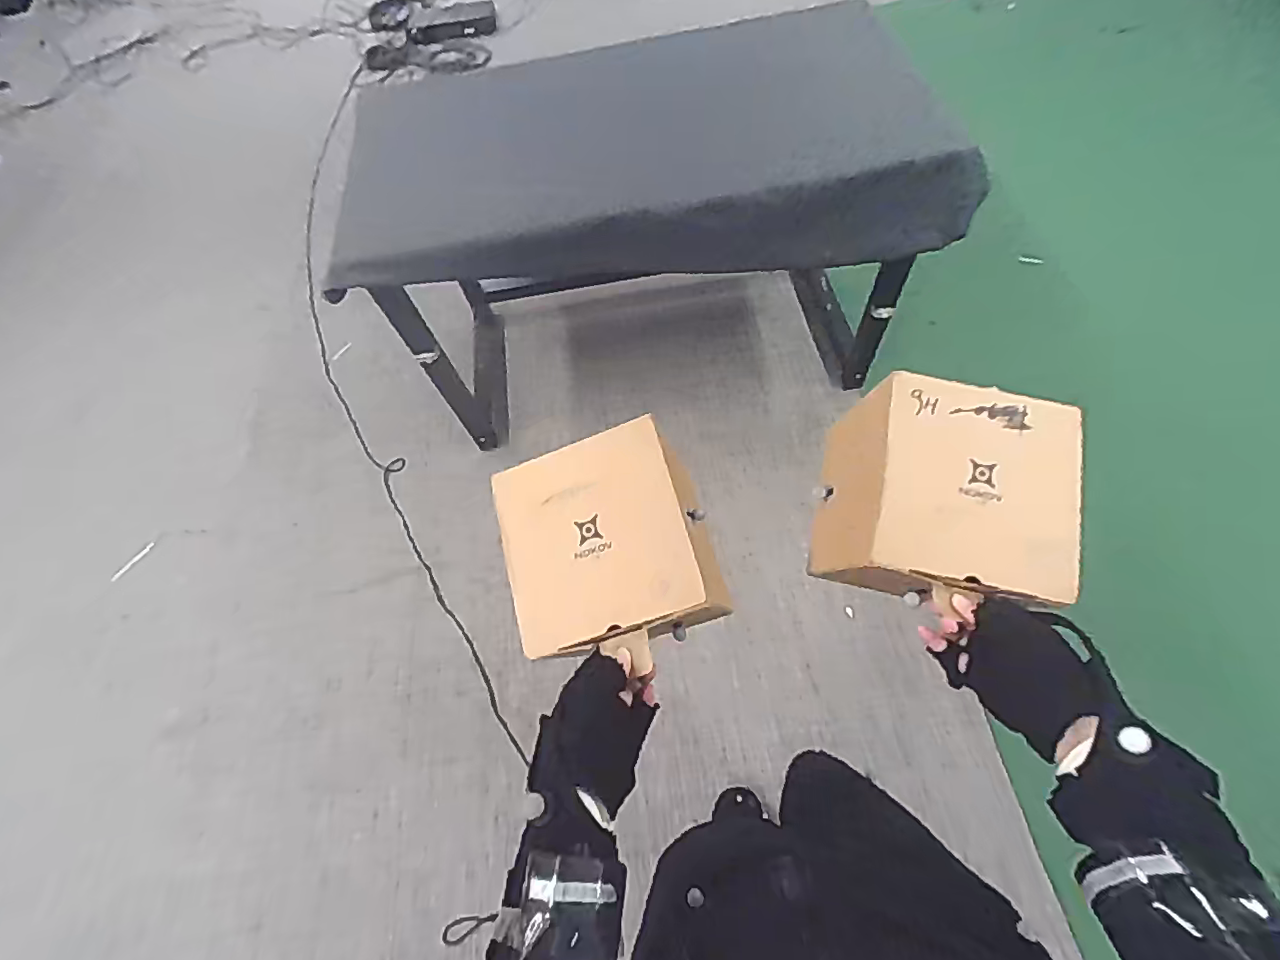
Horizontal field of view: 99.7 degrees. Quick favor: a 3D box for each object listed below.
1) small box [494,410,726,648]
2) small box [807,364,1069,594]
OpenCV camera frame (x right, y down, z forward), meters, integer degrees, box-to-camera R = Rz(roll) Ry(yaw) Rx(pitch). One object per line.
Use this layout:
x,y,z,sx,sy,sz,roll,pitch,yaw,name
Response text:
-0.021,0.060,0.551,0.168,0.176,0.179,-20,69,9,small box
0.279,0.011,0.542,0.168,0.176,0.179,12,79,1,small box
